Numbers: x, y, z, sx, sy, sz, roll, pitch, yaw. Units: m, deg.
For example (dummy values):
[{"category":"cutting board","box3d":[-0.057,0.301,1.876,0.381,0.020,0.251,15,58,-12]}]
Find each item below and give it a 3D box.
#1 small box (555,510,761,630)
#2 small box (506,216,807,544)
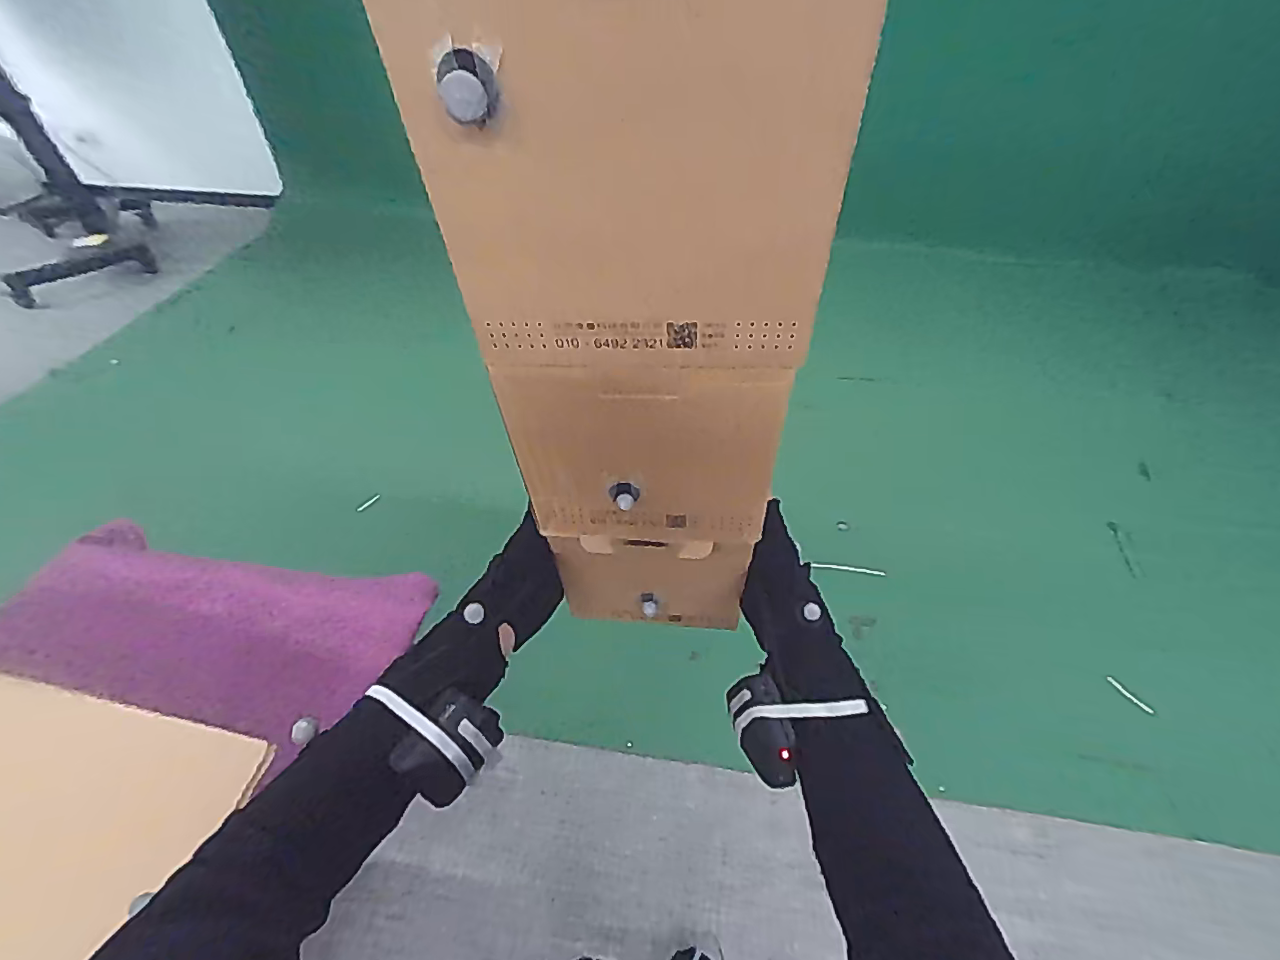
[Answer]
[{"category":"small box","box3d":[0.026,0.025,0.532,0.168,0.176,0.179,3,51,7]},{"category":"small box","box3d":[0.016,-0.074,0.402,0.168,0.176,0.179,1,51,5]}]
